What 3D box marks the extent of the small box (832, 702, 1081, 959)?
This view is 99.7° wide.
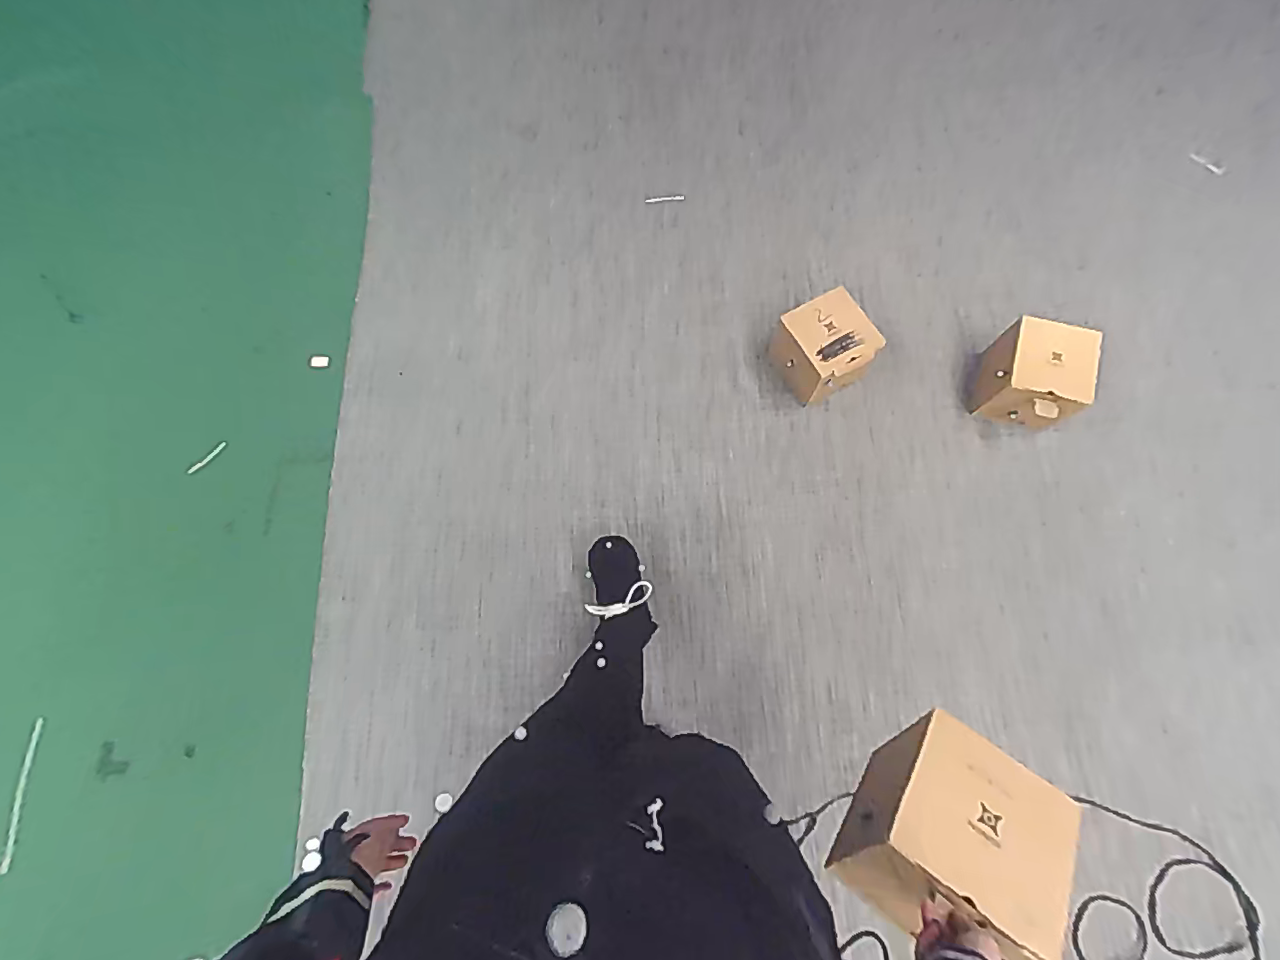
[{"bbox_3d":[0.342,0.398,0.608,0.168,0.176,0.179,34,49,19],"label":"small box"}]

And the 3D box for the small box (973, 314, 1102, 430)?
[{"bbox_3d":[0.881,-0.236,1.212,0.168,0.176,0.179,16,77,8],"label":"small box"}]
